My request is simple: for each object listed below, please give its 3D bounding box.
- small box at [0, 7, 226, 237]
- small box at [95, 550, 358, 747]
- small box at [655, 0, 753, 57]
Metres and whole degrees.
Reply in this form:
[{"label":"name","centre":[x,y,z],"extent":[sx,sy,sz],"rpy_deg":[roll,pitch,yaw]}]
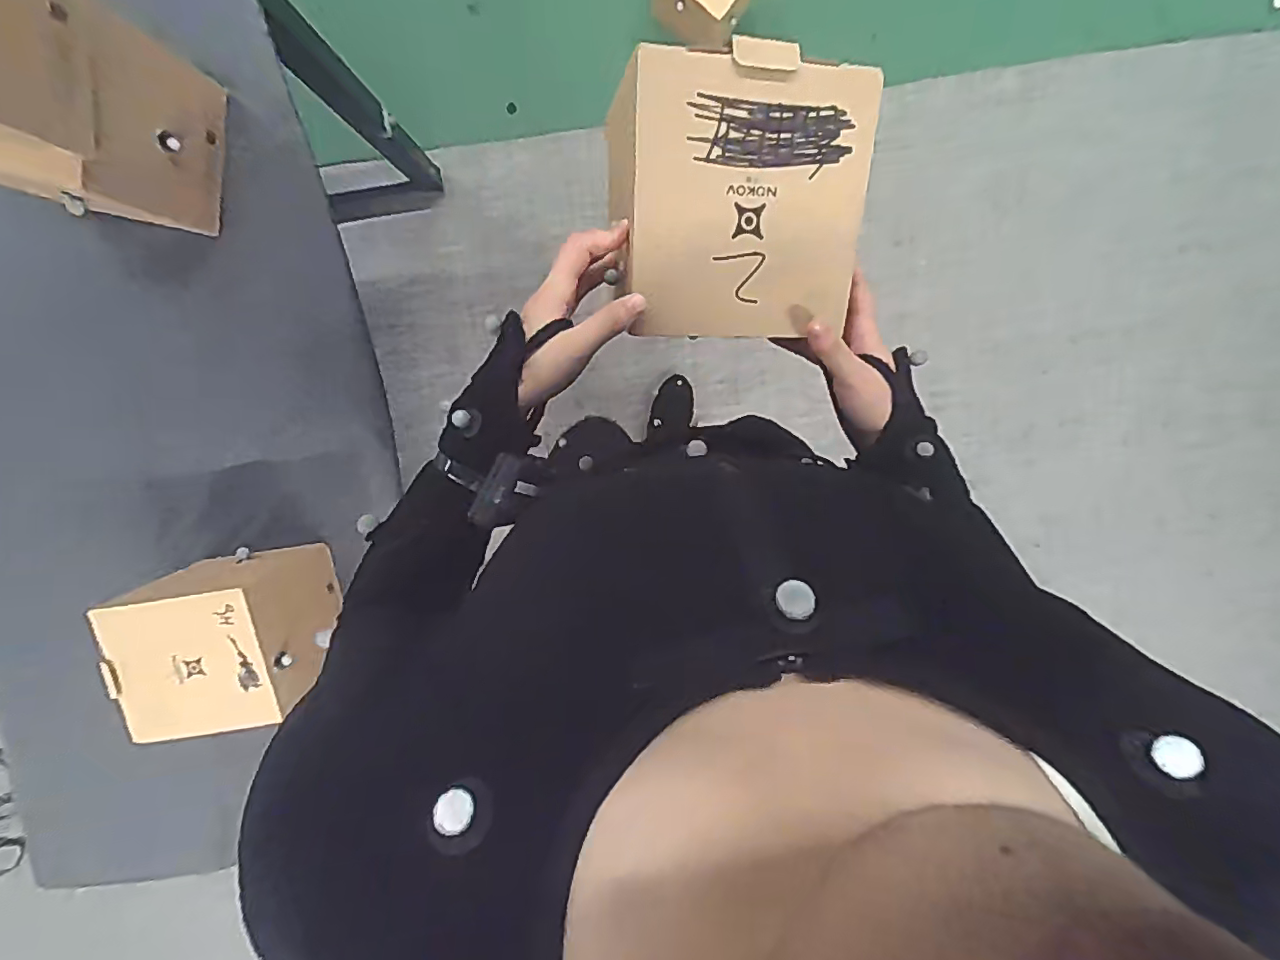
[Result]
[{"label":"small box","centre":[-0.574,-0.367,0.559],"extent":[0.179,0.176,0.168],"rpy_deg":[12,100,-1]},{"label":"small box","centre":[-0.492,0.198,0.673],"extent":[0.179,0.176,0.168],"rpy_deg":[-9,101,1]},{"label":"small box","centre":[0.151,-1.088,1.190],"extent":[0.179,0.176,0.168],"rpy_deg":[37,98,-7]}]
